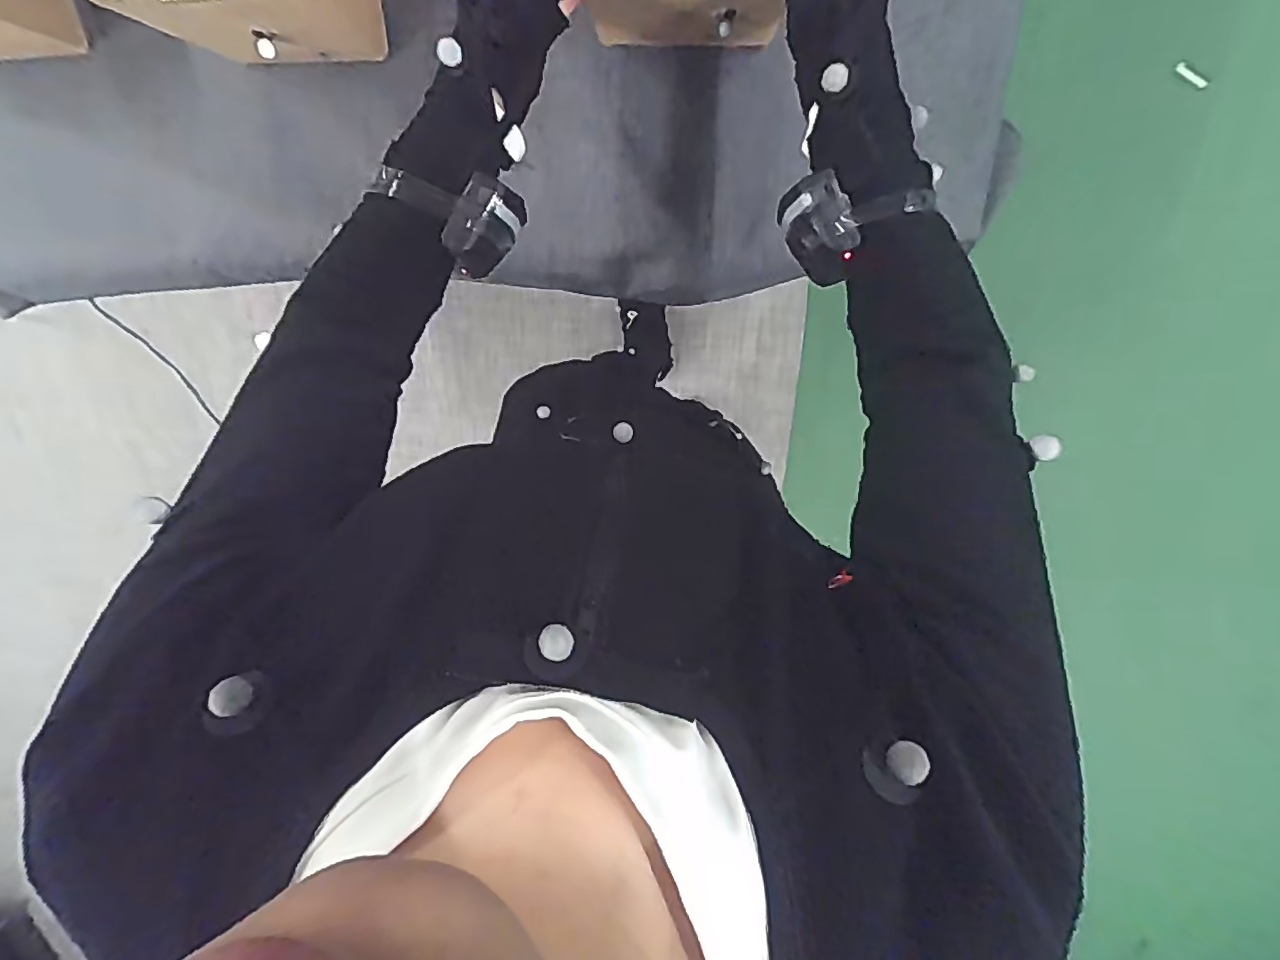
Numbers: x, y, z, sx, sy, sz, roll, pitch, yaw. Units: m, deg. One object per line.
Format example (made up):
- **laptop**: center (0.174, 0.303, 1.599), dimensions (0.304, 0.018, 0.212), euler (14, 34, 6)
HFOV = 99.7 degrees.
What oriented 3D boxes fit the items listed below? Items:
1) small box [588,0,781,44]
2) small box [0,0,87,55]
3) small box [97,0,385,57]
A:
- **small box**: center (0.040, -0.472, 0.426), dimensions (0.168, 0.176, 0.179), euler (3, 115, 3)
- **small box**: center (-0.672, -0.496, 0.474), dimensions (0.179, 0.176, 0.168), euler (-1, 113, 4)
- **small box**: center (-0.341, -0.483, 0.455), dimensions (0.168, 0.176, 0.179), euler (2, 114, 4)
